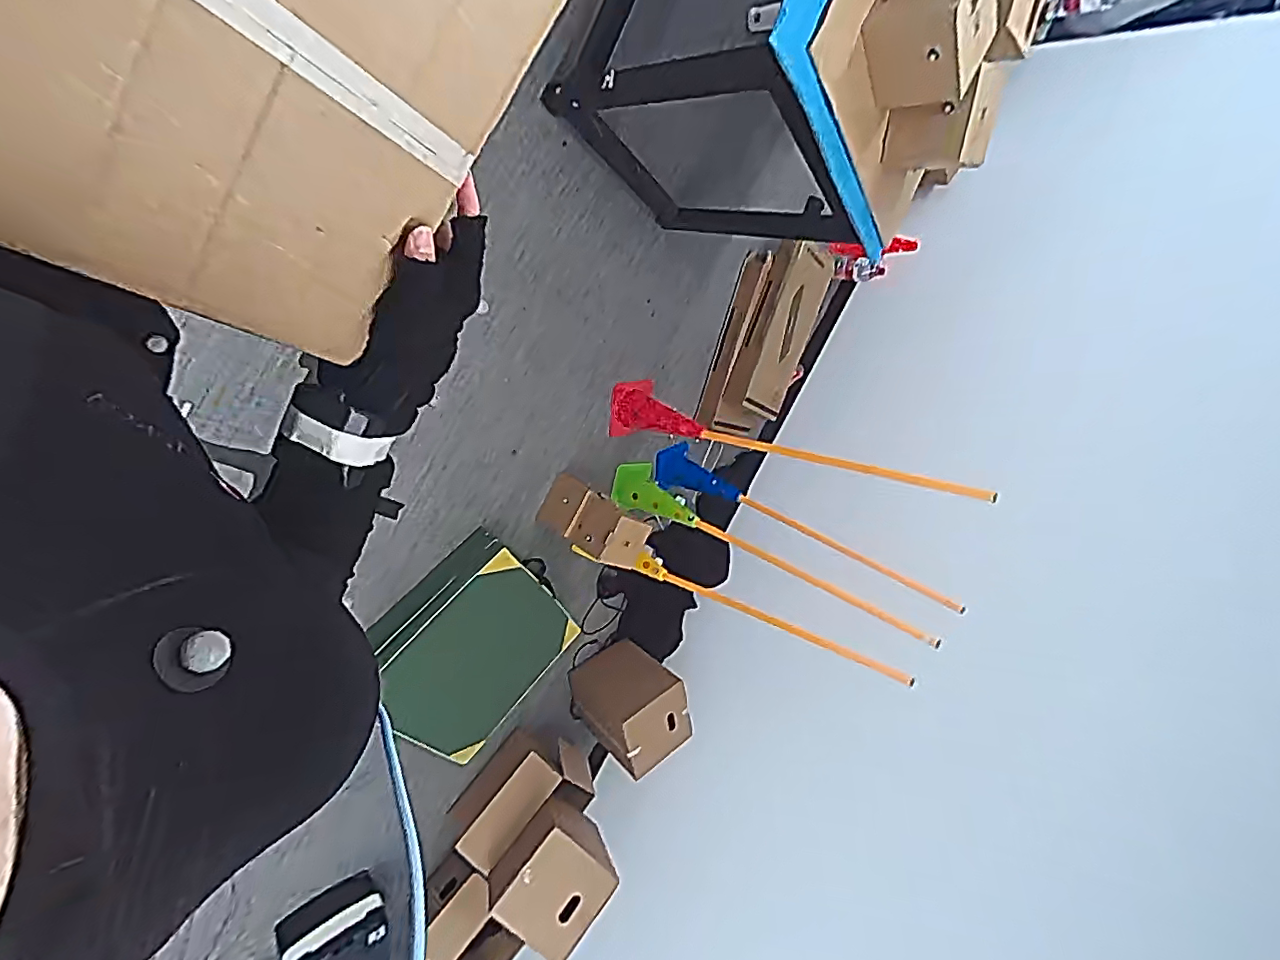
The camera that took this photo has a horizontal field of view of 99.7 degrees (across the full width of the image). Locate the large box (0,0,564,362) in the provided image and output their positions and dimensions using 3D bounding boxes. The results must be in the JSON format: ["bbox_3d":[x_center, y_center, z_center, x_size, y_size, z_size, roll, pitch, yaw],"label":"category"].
[{"bbox_3d":[-0.315,-0.329,0.285,0.320,0.320,0.408,-50,144,17],"label":"large box"}]
